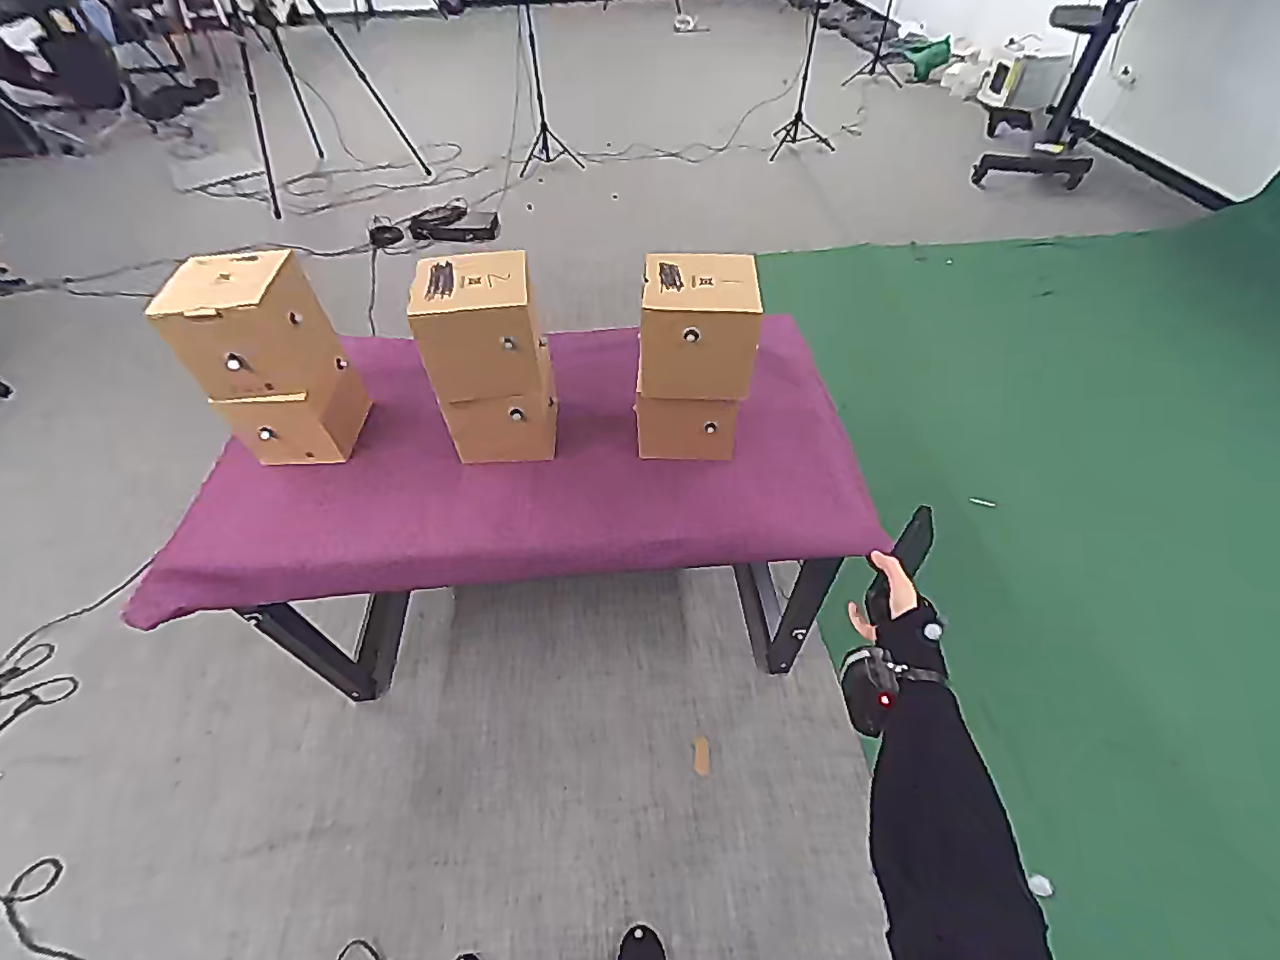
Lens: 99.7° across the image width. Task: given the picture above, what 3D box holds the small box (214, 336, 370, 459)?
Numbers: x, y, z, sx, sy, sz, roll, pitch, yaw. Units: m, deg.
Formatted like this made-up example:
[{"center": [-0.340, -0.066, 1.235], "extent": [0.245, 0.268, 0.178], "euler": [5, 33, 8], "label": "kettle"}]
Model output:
[{"center": [-0.646, -0.153, 1.034], "extent": [0.168, 0.176, 0.179], "euler": [-2, 50, 0], "label": "small box"}]

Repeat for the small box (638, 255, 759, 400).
[{"center": [0.091, -0.246, 0.881], "extent": [0.179, 0.176, 0.168], "euler": [3, 50, 3], "label": "small box"}]

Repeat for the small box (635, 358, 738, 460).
[{"center": [0.085, -0.152, 1.016], "extent": [0.179, 0.176, 0.168], "euler": [2, 50, 4], "label": "small box"}]

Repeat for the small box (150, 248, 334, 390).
[{"center": [-0.650, -0.265, 0.914], "extent": [0.168, 0.176, 0.179], "euler": [-5, 51, -4], "label": "small box"}]

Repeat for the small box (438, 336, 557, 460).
[{"center": [-0.255, -0.152, 1.022], "extent": [0.179, 0.176, 0.168], "euler": [-2, 50, 0], "label": "small box"}]
